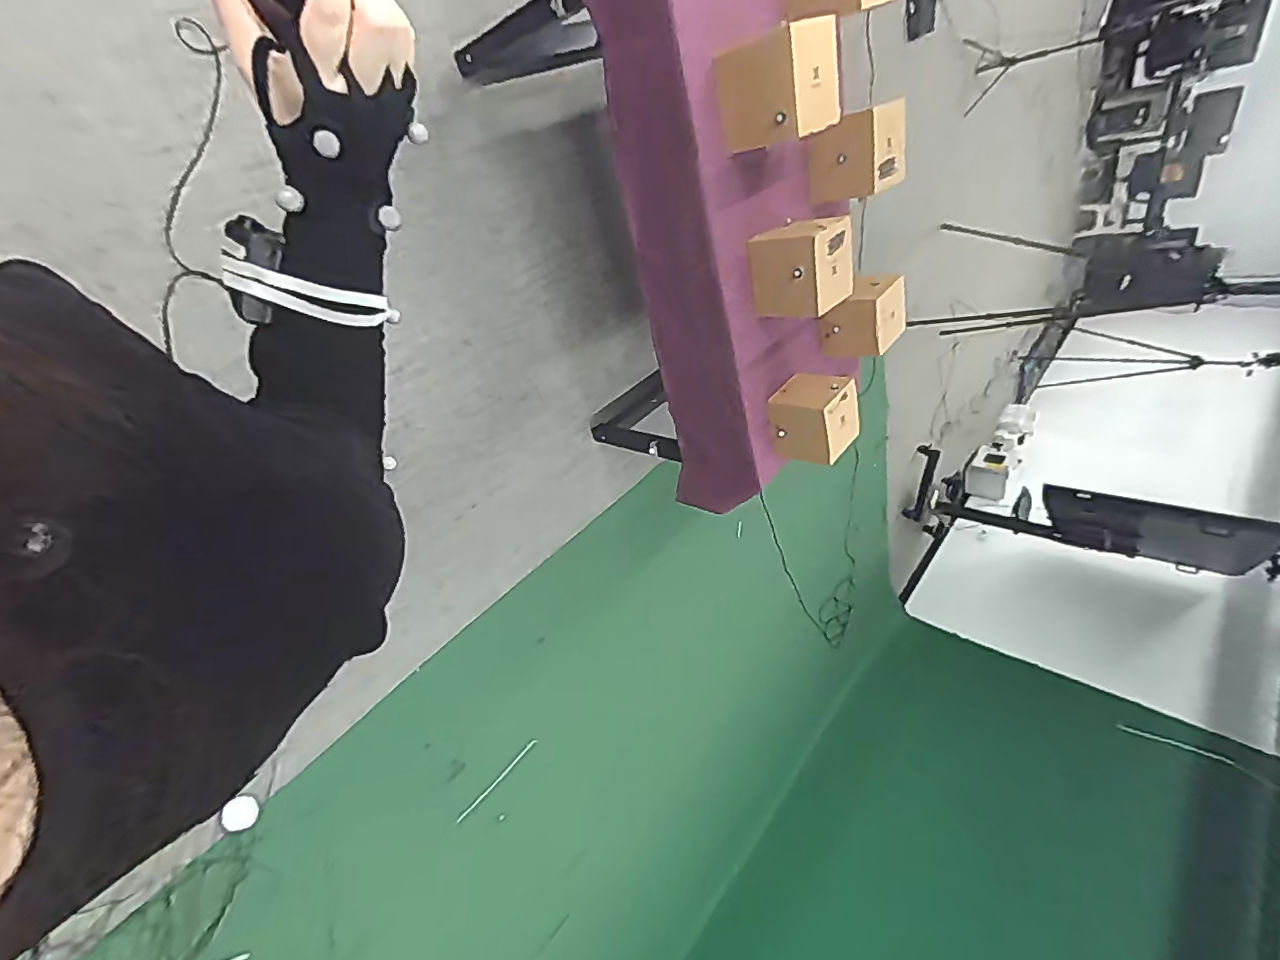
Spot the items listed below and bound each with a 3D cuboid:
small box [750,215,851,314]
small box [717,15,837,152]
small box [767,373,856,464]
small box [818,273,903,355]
[{"bbox_3d":[0.372,-0.497,1.259,0.168,0.176,0.179,-37,128,-32],"label":"small box"},{"bbox_3d":[0.268,-0.772,1.063,0.168,0.176,0.179,-39,129,-31],"label":"small box"},{"bbox_3d":[0.462,-0.173,1.456,0.168,0.176,0.179,-41,129,-30],"label":"small box"},{"bbox_3d":[0.622,-0.472,1.524,0.179,0.176,0.168,-42,129,-28],"label":"small box"}]
